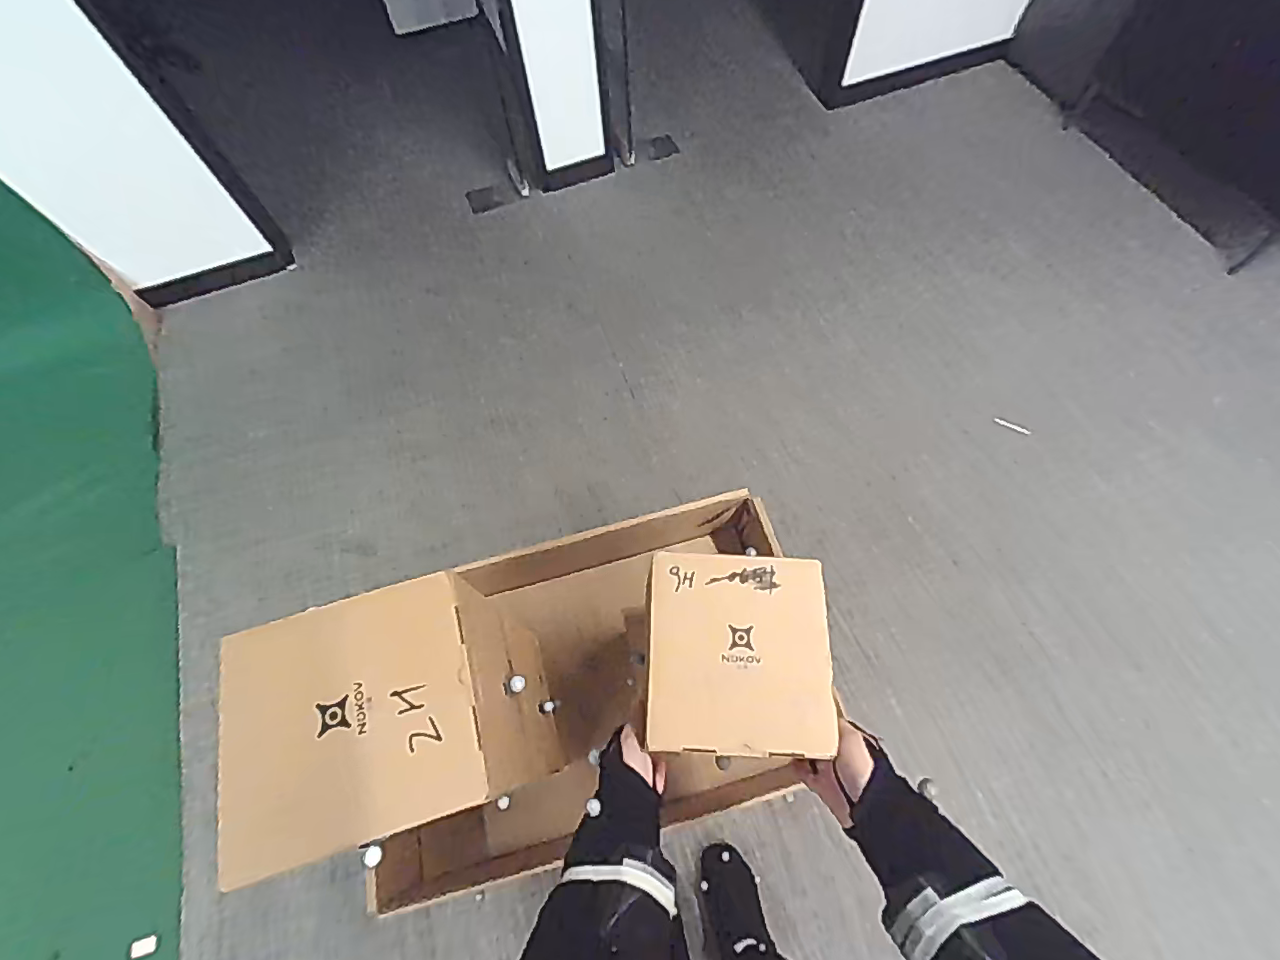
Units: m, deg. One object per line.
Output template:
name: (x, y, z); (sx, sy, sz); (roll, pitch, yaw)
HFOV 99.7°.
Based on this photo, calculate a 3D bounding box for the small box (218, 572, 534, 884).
small box: (-0.203, 0.197, 0.453); (0.179, 0.176, 0.168); (-16, 67, -7)

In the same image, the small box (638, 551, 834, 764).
small box: (0.086, 0.183, 0.560); (0.168, 0.176, 0.179); (4, 67, -1)

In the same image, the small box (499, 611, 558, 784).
small box: (-0.203, 0.265, 0.604); (0.179, 0.176, 0.168); (-15, 66, -7)
